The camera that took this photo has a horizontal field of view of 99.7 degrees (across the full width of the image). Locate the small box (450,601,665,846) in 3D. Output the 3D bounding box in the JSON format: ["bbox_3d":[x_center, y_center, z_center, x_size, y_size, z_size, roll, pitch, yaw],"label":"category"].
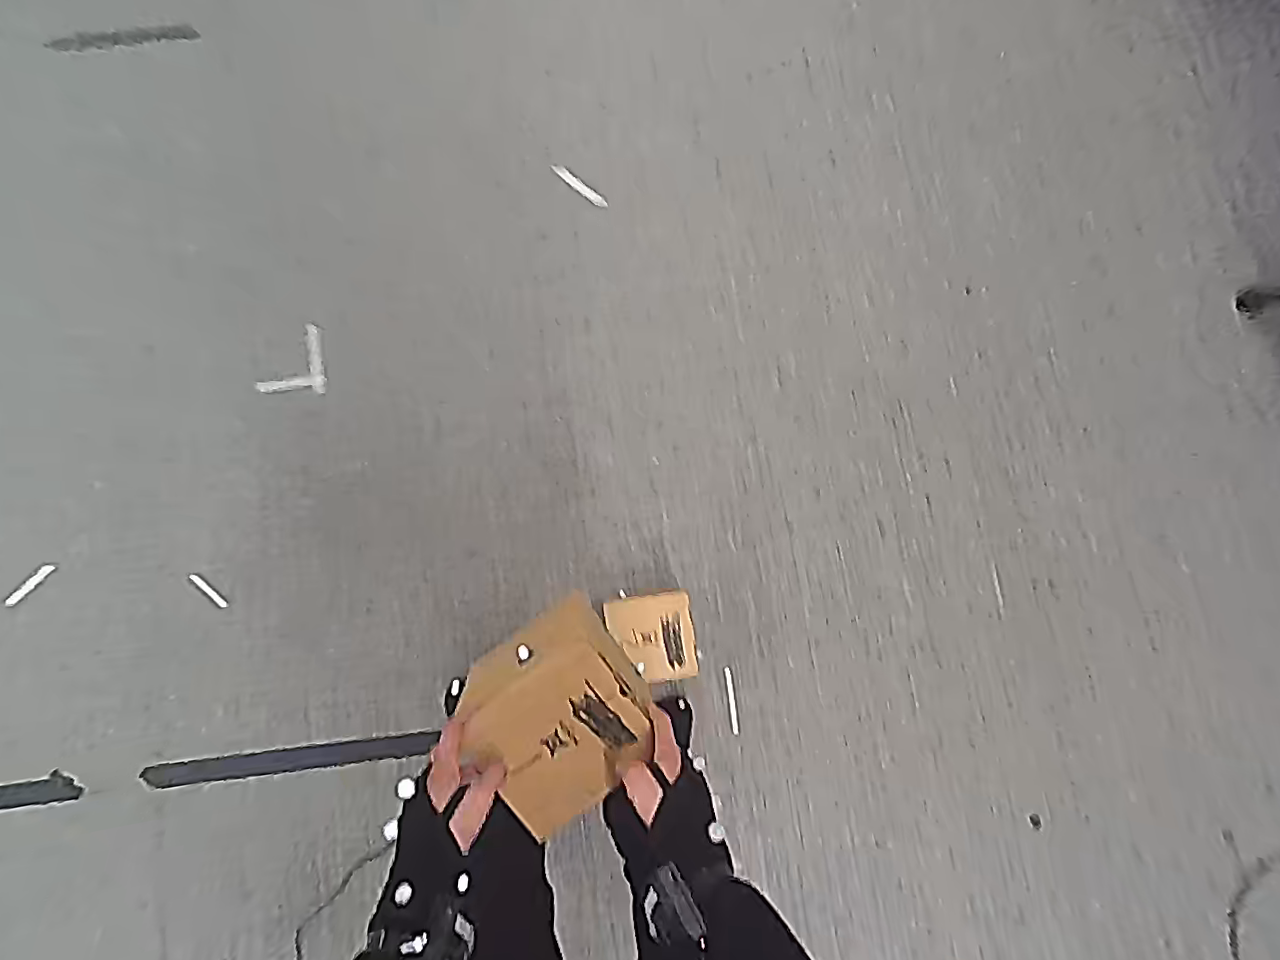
[{"bbox_3d":[-0.098,0.275,0.656,0.179,0.176,0.168,-36,98,-5],"label":"small box"}]
